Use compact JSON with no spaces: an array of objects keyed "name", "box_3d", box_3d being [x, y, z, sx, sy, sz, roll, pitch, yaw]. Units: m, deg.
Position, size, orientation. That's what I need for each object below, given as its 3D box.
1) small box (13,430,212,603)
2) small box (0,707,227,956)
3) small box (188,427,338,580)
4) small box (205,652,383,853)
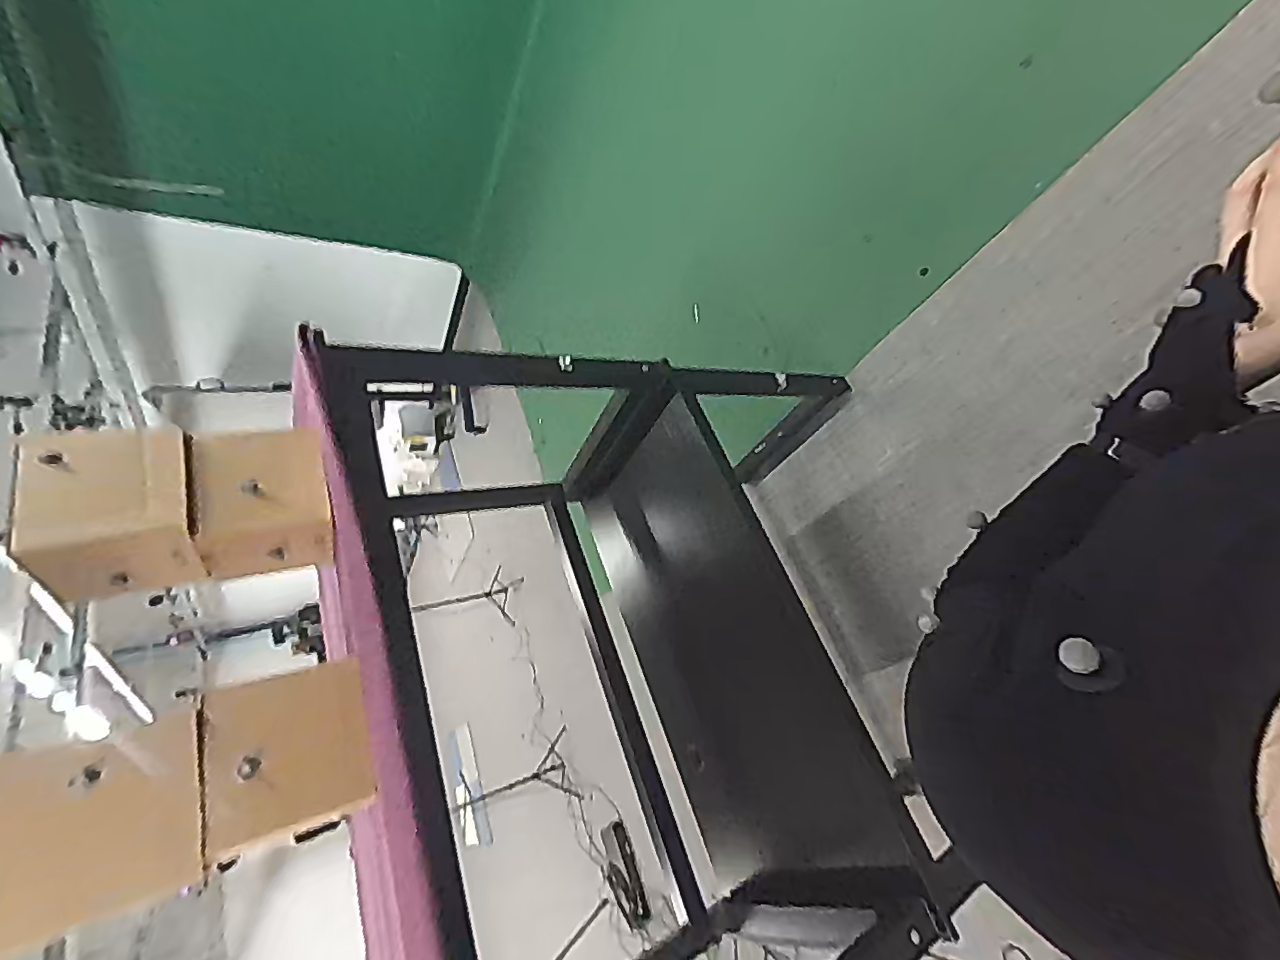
[{"name":"small box","box_3d":[-0.715,0.046,0.756,0.168,0.176,0.179,-52,55,48]},{"name":"small box","box_3d":[-0.570,0.364,0.603,0.168,0.176,0.179,-36,66,52]},{"name":"small box","box_3d":[-0.585,0.032,0.855,0.168,0.176,0.179,-52,56,48]},{"name":"small box","box_3d":[-0.439,0.346,0.697,0.168,0.176,0.179,-49,55,46]}]
